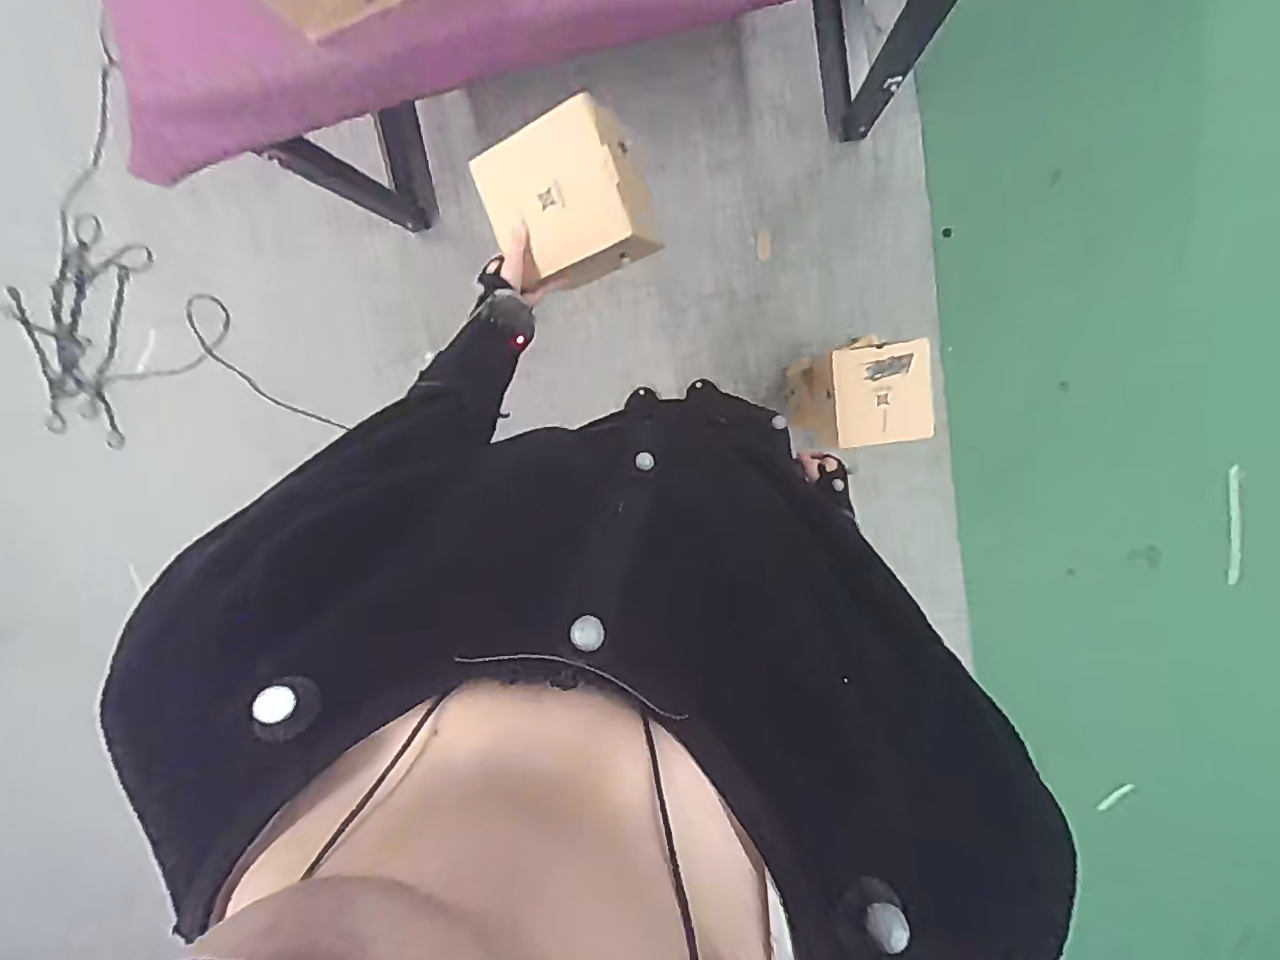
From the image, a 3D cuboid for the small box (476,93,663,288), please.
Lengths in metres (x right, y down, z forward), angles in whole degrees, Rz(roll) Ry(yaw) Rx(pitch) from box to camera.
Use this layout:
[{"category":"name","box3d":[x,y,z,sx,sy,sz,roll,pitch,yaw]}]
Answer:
[{"category":"small box","box3d":[-0.079,-0.371,0.731,0.179,0.176,0.168,-15,102,22]}]

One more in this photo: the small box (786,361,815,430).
[{"category":"small box","box3d":[0.464,-0.210,1.348,0.179,0.176,0.168,1,101,6]}]

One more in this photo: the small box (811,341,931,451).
[{"category":"small box","box3d":[0.428,-0.158,1.025,0.168,0.176,0.179,-7,101,7]}]
